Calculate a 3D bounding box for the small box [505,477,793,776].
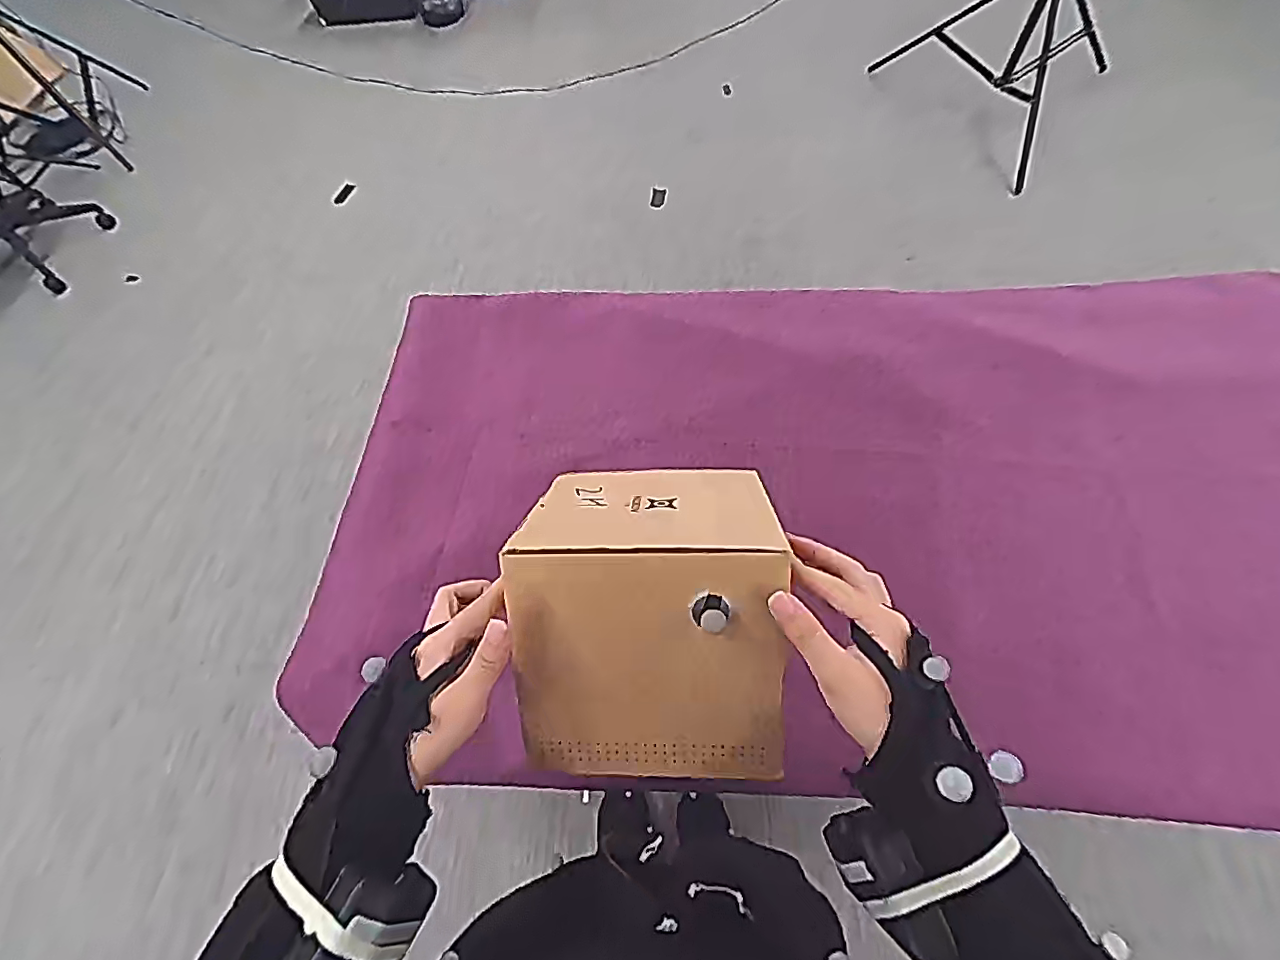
[{"bbox_3d":[0.014,0.100,0.418,0.179,0.168,0.176,-1,104,6],"label":"small box"}]
